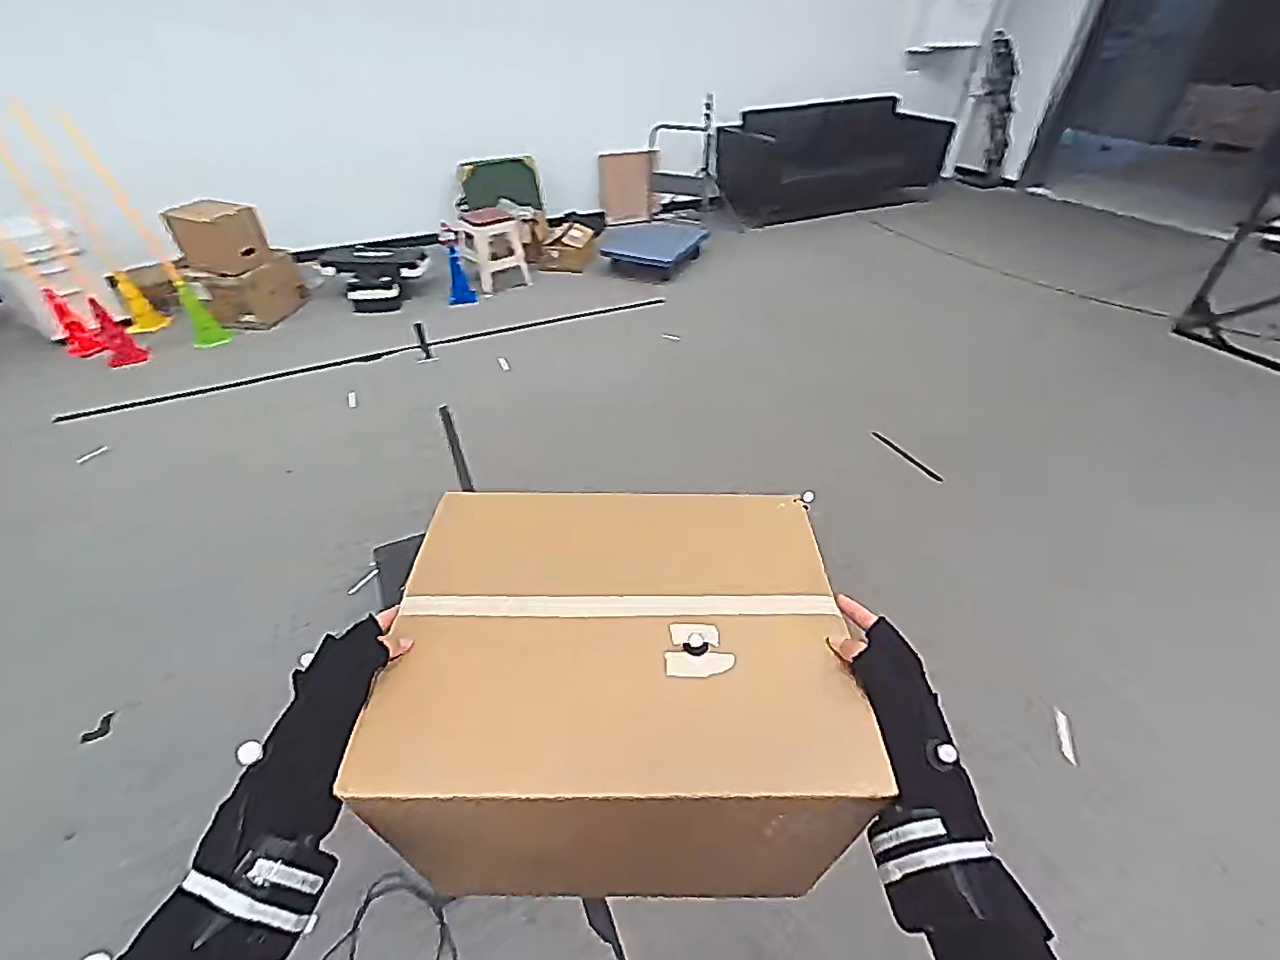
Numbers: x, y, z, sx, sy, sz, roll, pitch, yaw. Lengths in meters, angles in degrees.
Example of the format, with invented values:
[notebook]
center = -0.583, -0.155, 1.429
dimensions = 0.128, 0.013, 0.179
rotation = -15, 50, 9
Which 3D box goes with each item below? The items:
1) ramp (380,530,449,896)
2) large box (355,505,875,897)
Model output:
[ramp]
center = -0.428, 0.523, 1.575
dimensions = 0.509, 0.206, 0.991
rotation = -17, 44, -20
[large box]
center = -0.023, 0.243, 0.614
dimensions = 0.408, 0.320, 0.320
rotation = 0, 42, -1
